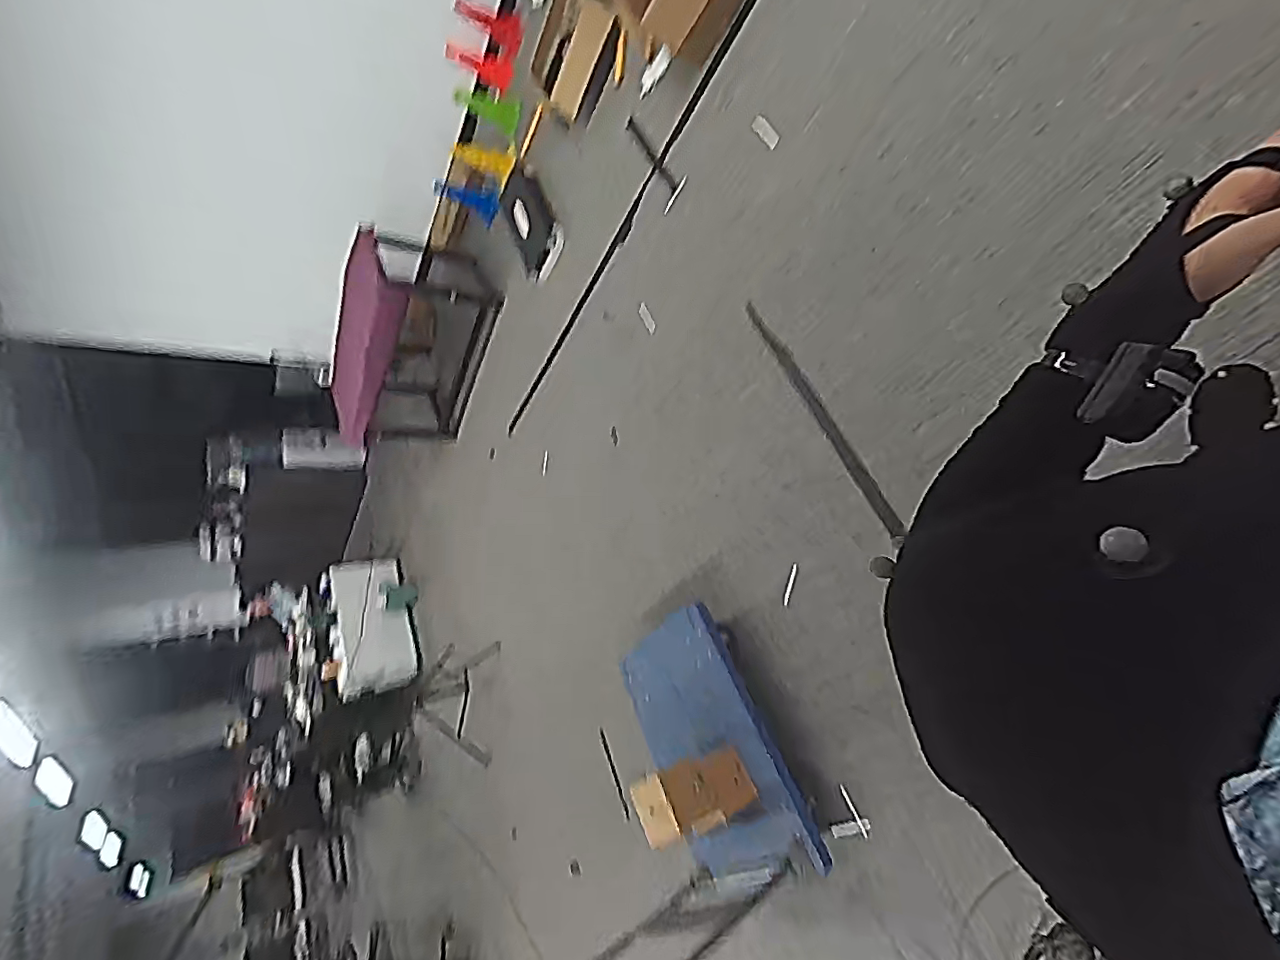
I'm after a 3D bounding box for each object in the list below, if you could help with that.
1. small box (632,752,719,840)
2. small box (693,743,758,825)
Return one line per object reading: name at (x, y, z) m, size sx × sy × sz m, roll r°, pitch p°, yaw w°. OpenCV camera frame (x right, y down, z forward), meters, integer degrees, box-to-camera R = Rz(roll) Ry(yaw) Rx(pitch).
small box at (0.109, 0.965, 1.659) m, size 0.179 × 0.176 × 0.168 m, roll -52°, pitch 54°, yaw 38°
small box at (0.246, 0.982, 1.751) m, size 0.179 × 0.176 × 0.168 m, roll -52°, pitch 53°, yaw 37°
